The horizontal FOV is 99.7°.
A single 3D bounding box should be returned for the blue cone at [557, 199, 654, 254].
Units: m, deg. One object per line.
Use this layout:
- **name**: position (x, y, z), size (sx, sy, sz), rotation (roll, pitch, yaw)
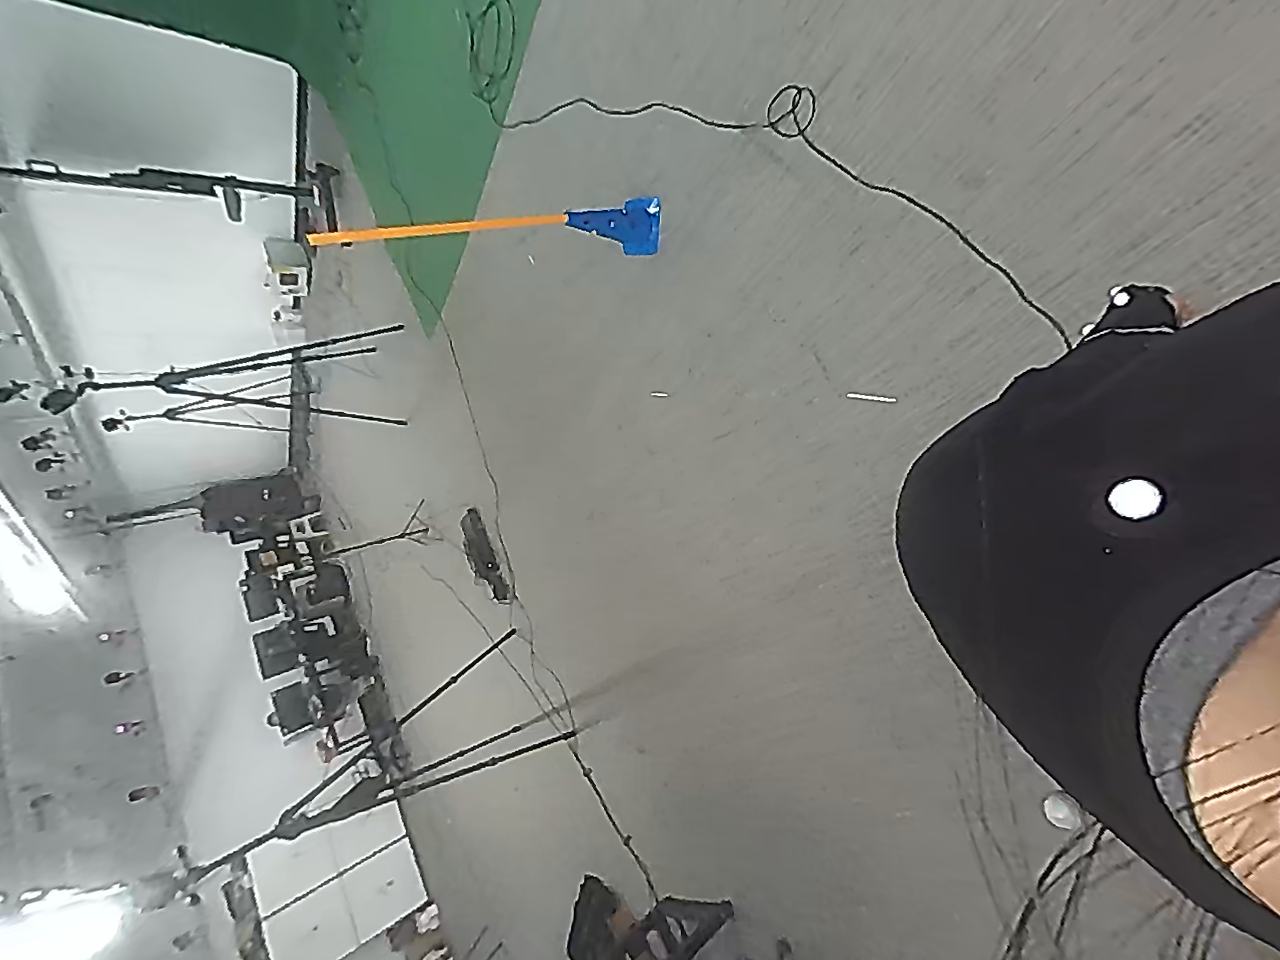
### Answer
- **blue cone**: position (-0.133, -0.941, 1.986), size (0.192, 0.380, 0.193), rotation (21, 119, 44)
